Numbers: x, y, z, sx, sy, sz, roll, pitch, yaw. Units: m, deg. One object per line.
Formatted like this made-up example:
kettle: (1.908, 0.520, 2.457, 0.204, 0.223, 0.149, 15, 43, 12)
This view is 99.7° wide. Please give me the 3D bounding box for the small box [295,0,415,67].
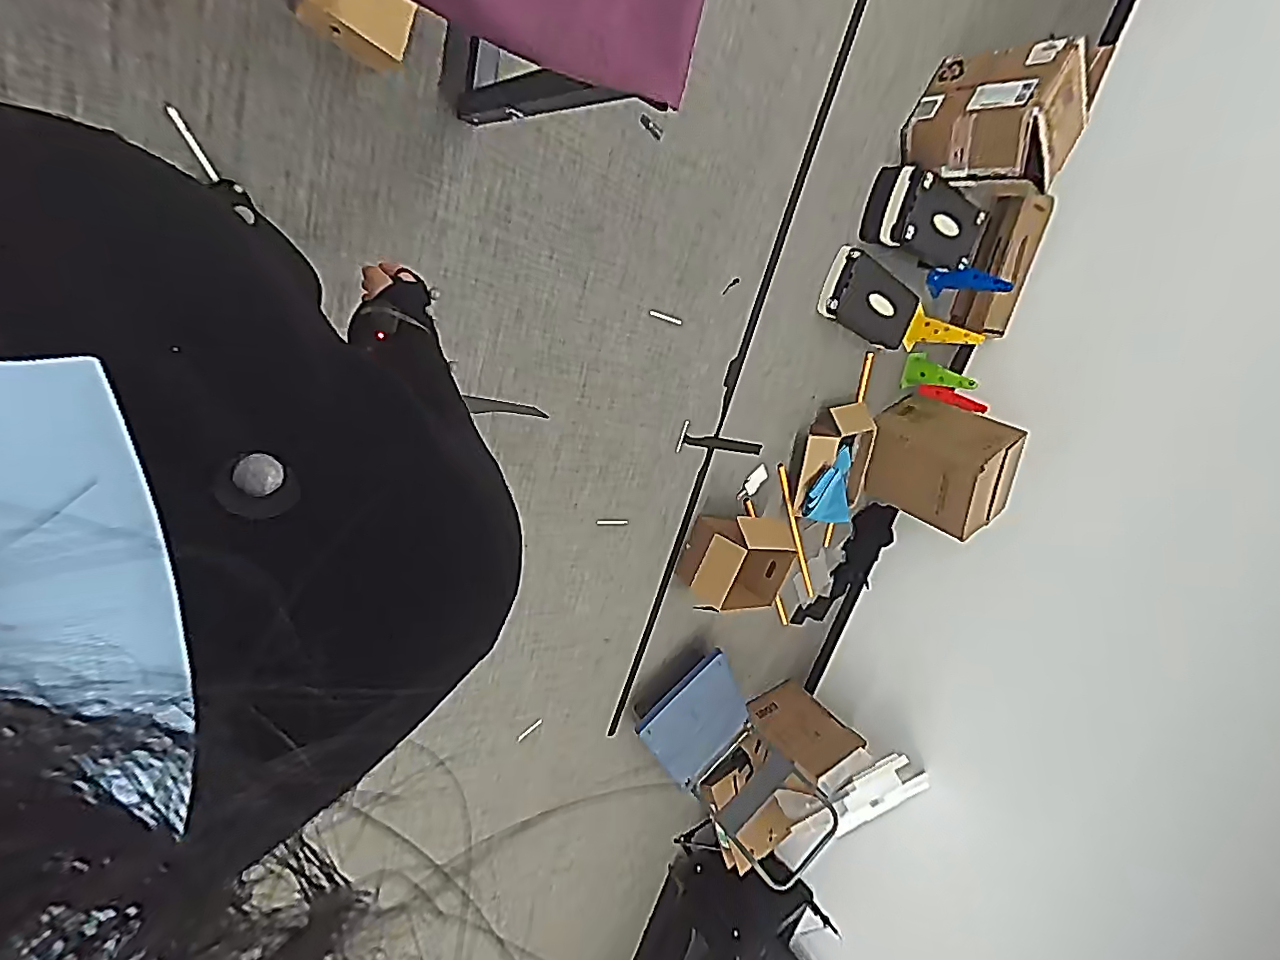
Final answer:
small box: (-0.541, -0.937, 1.033, 0.168, 0.176, 0.179, 13, 104, -44)
